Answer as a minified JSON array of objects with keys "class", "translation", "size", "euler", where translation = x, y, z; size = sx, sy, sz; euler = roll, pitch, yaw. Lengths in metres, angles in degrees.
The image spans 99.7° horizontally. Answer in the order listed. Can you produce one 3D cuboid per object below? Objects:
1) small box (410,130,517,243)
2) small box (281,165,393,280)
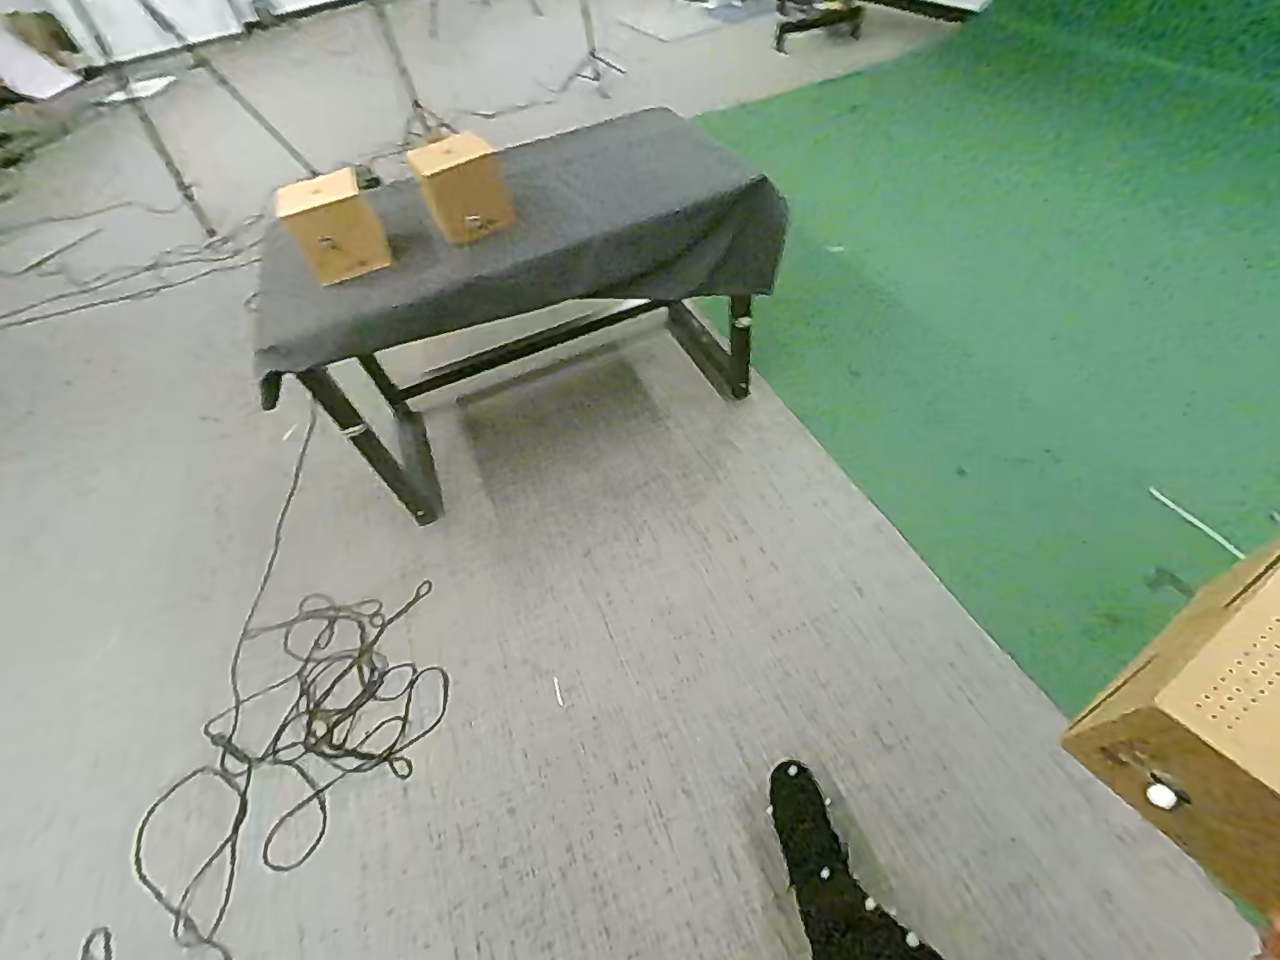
[{"class":"small box","translation":[-0.417,-0.698,1.289],"size":[0.168,0.176,0.179],"euler":[-29,54,-12]},{"class":"small box","translation":[-0.691,-0.586,1.245],"size":[0.168,0.176,0.179],"euler":[-23,51,-9]}]
